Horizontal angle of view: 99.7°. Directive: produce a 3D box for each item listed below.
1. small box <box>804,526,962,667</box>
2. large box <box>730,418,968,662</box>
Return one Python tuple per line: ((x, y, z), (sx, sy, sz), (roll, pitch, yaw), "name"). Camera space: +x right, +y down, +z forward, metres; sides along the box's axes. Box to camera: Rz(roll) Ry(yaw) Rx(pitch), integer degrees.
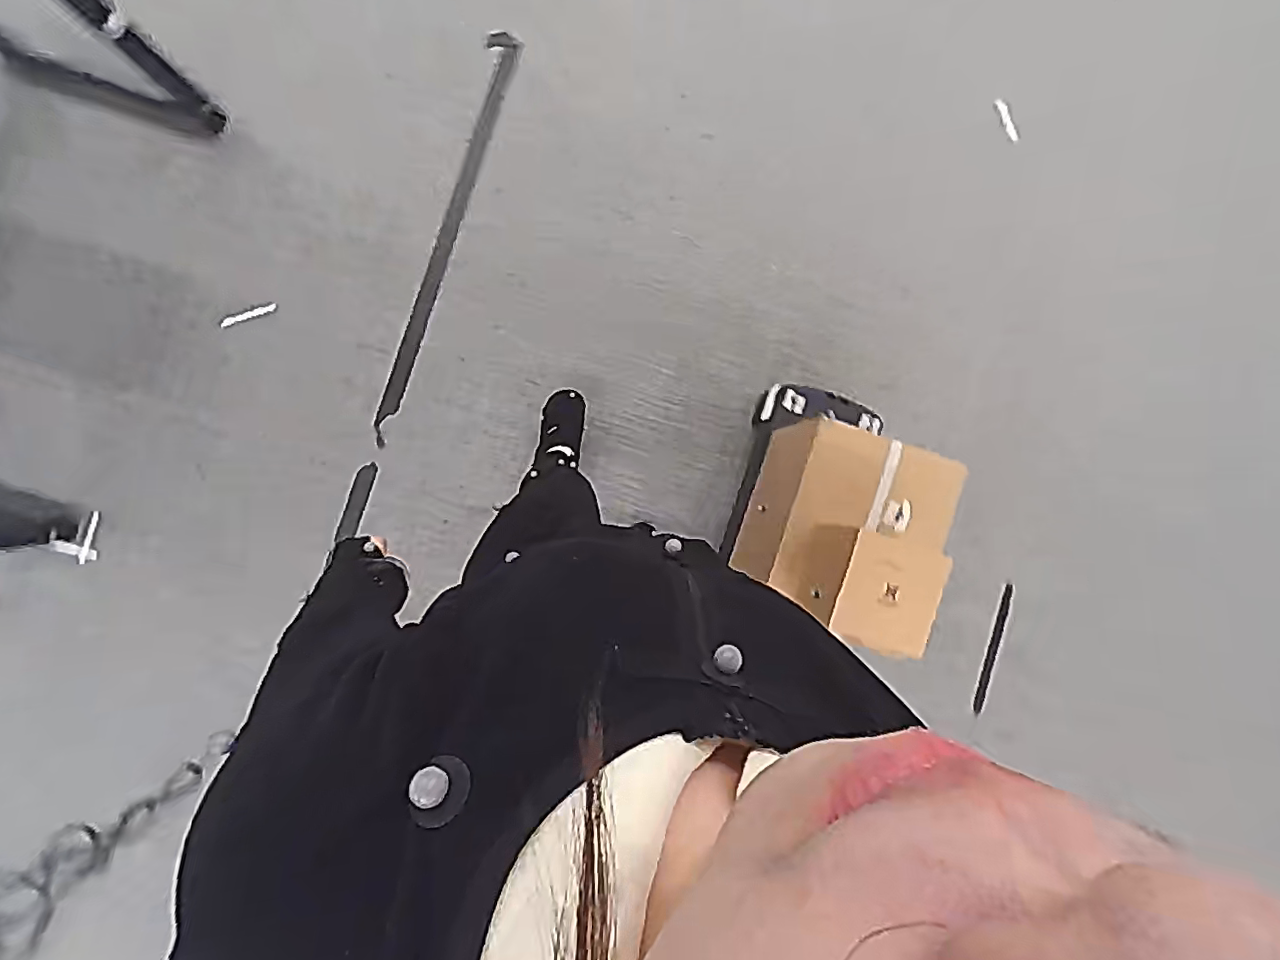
((0.403, 0.189, 0.932), (0.168, 0.176, 0.179), (20, 88, -3), "small box")
((0.425, 0.121, 1.180), (0.320, 0.320, 0.408), (19, 87, -4), "large box")
